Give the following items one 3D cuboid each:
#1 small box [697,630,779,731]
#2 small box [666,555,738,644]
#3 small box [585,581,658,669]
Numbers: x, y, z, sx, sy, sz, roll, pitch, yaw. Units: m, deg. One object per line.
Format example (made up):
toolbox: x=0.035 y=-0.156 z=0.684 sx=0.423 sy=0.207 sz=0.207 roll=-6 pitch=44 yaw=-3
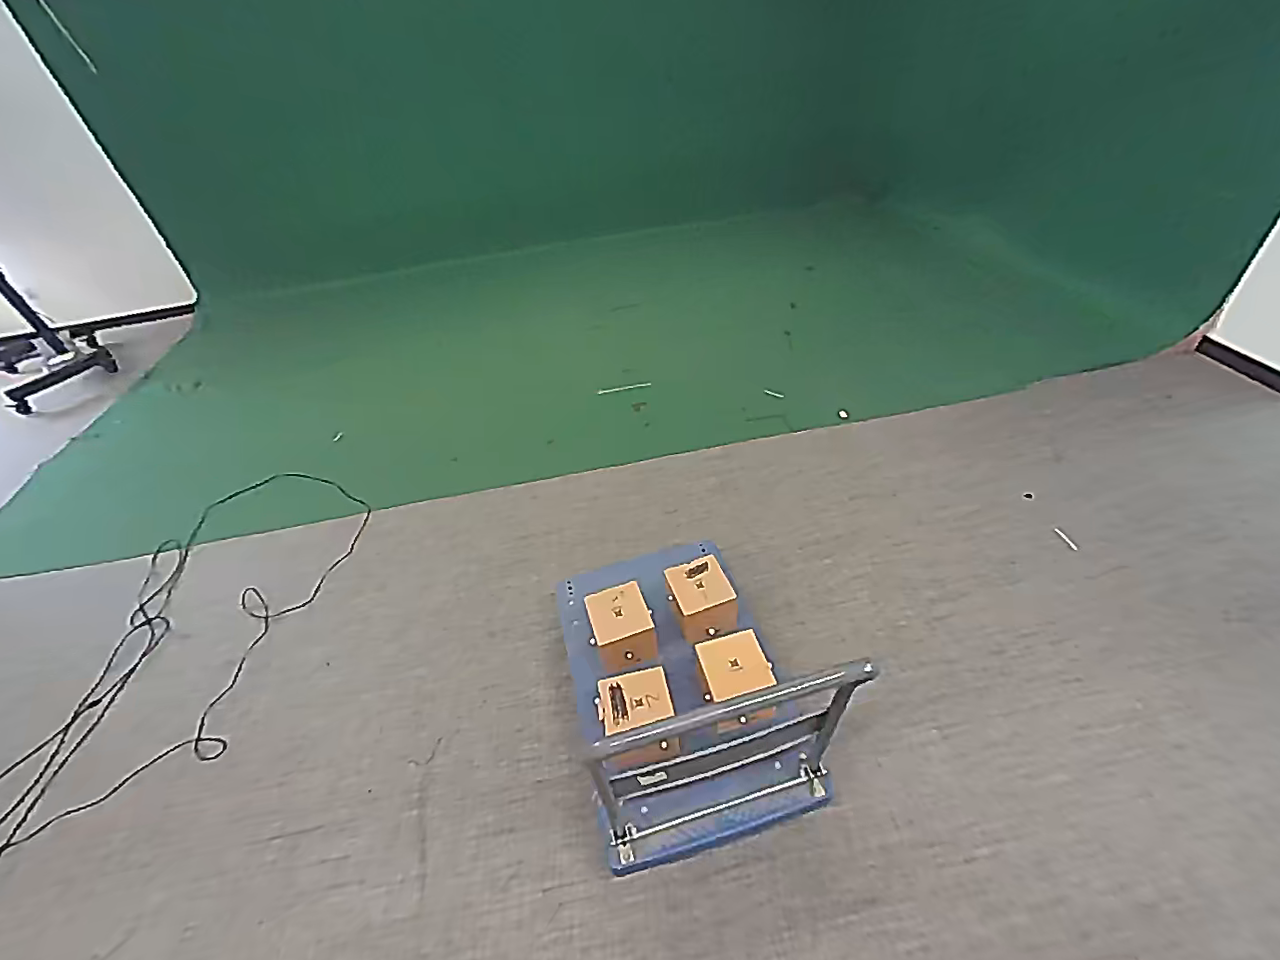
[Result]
small box: x=0.255 y=0.537 z=1.447 sx=0.168 sy=0.176 sz=0.179 roll=-13 pitch=43 yaw=-6
small box: x=0.186 y=0.363 z=1.642 sx=0.168 sy=0.176 sz=0.179 roll=-17 pitch=44 yaw=-9
small box: x=-0.052 y=0.436 z=1.600 sx=0.168 sy=0.176 sz=0.179 roll=-16 pitch=43 yaw=-10
